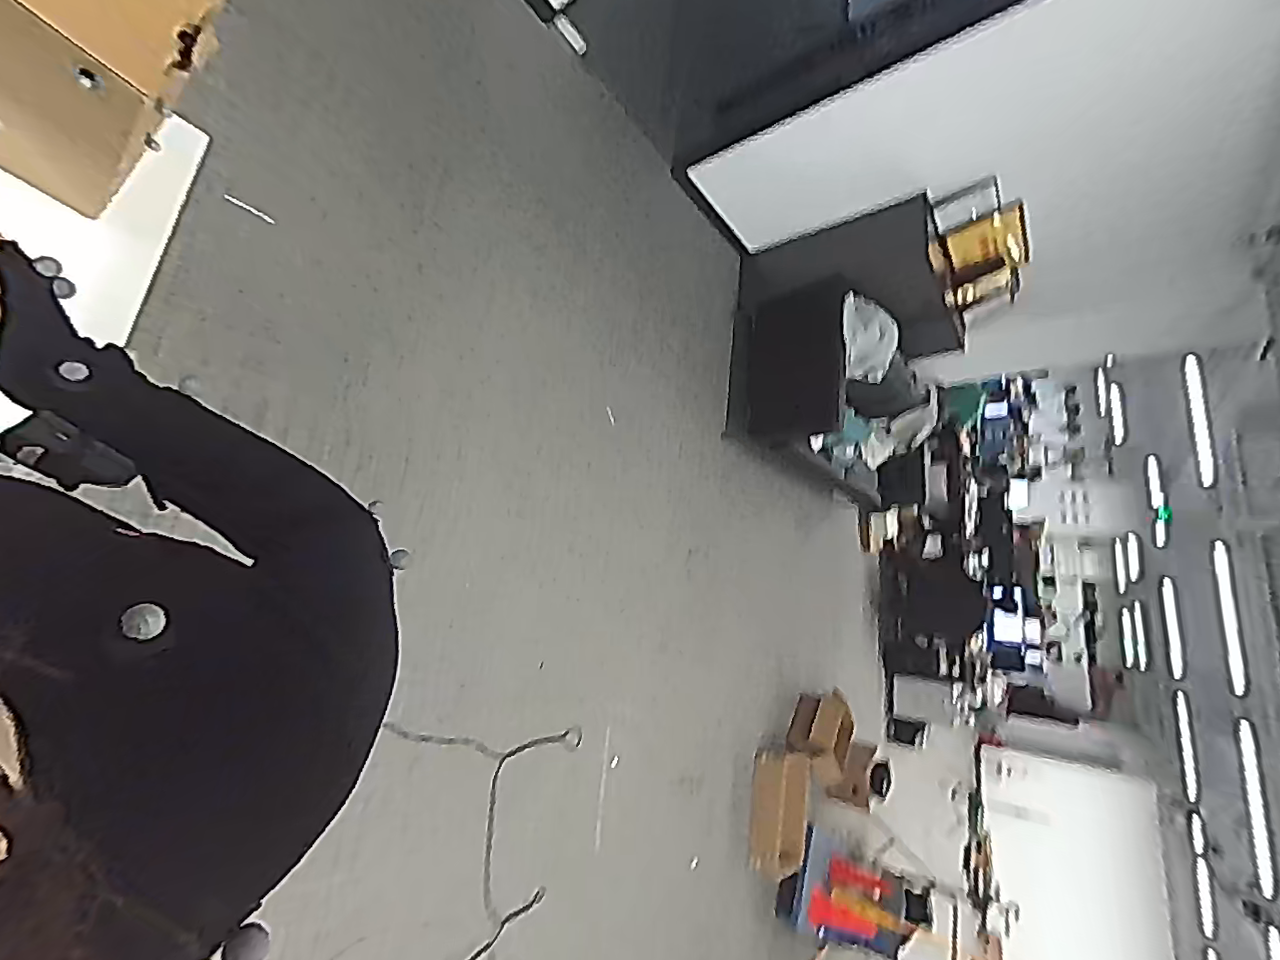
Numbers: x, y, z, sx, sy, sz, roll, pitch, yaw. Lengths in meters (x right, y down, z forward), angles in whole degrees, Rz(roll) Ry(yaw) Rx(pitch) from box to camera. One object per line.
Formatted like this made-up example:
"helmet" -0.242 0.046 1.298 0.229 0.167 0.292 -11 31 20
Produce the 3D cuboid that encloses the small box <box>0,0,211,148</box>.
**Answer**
"small box" -0.556 -0.464 0.508 0.179 0.176 0.168 35 60 -47

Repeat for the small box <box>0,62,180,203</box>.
"small box" -0.682 -0.457 0.611 0.179 0.176 0.168 34 61 -46
